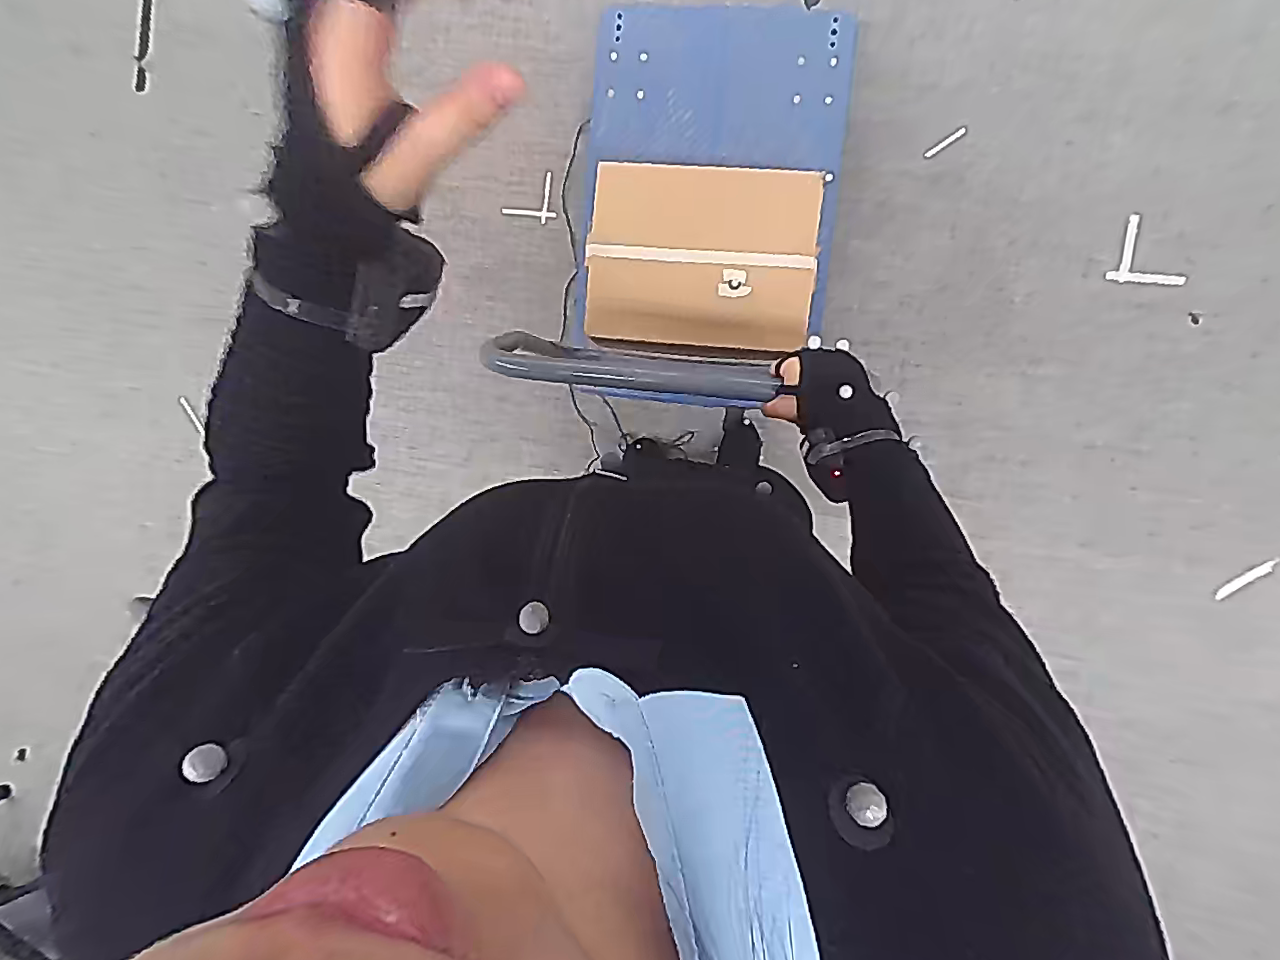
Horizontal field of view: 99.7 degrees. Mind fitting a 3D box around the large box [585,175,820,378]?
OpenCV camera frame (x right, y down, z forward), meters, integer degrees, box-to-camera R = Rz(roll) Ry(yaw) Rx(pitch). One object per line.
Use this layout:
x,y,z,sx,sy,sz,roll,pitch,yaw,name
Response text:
0.118,-0.393,1.117,0.408,0.320,0.320,6,96,5,large box
